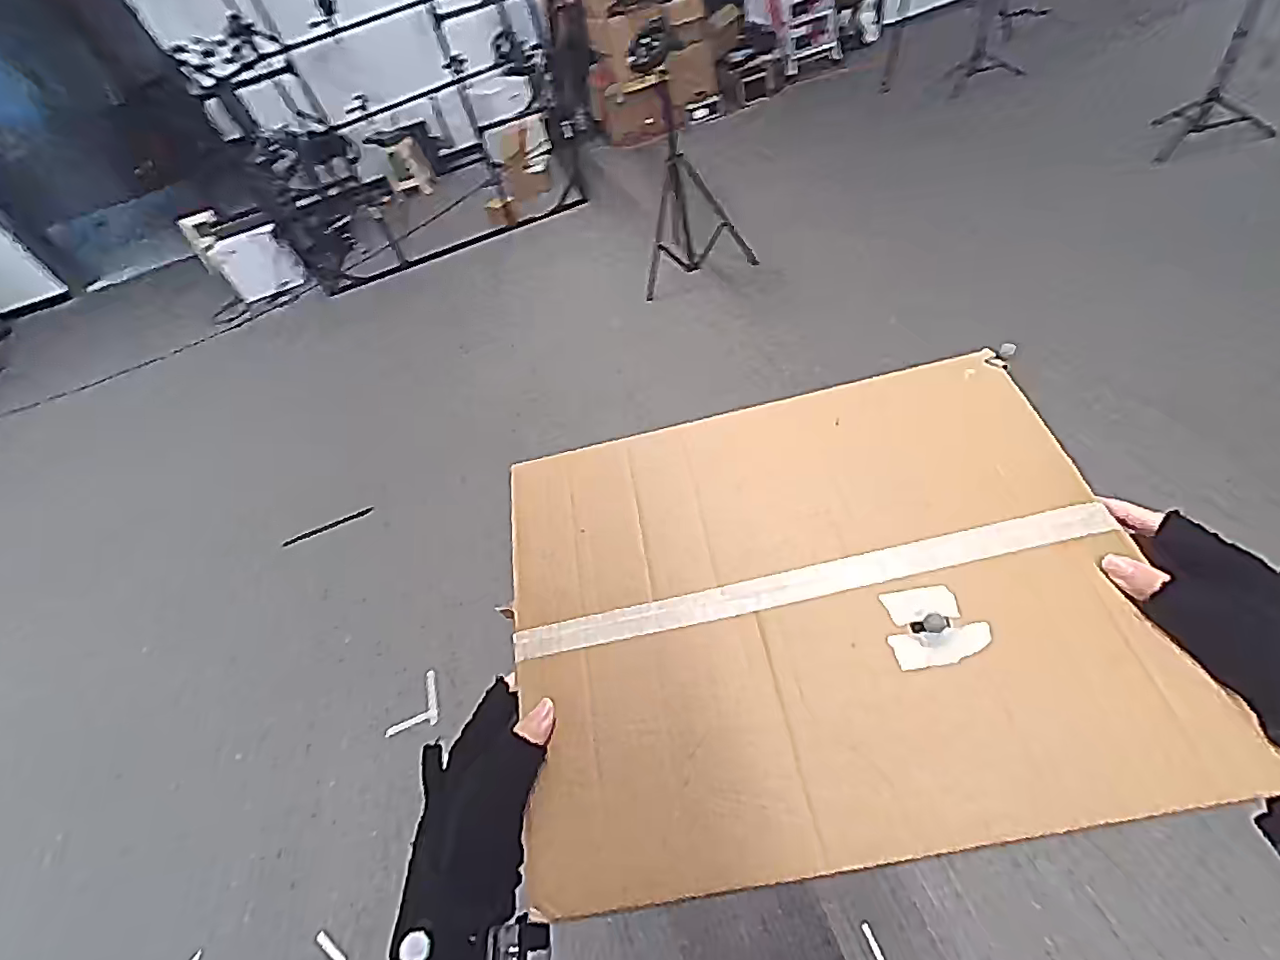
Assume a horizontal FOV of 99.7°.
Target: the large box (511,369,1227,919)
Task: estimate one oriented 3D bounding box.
[{"bbox_3d":[0.130,0.157,0.509,0.408,0.320,0.320,-14,58,3],"label":"large box"}]
